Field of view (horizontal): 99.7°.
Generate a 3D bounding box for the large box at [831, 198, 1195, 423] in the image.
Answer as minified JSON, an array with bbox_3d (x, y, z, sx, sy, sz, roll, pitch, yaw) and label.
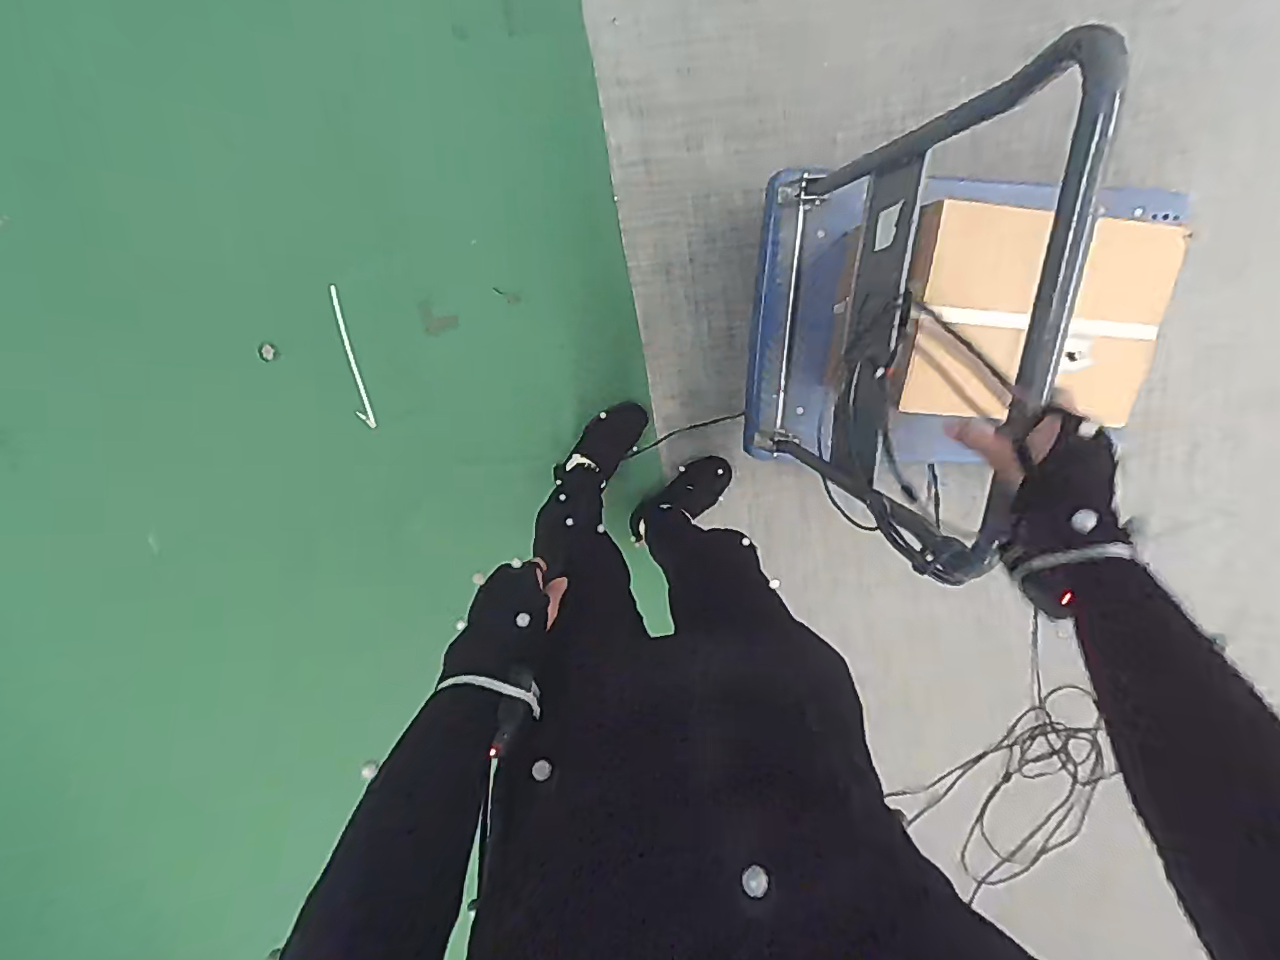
[{"bbox_3d":[0.614,-0.291,0.975,0.408,0.320,0.320,3,108,-6],"label":"large box"}]
